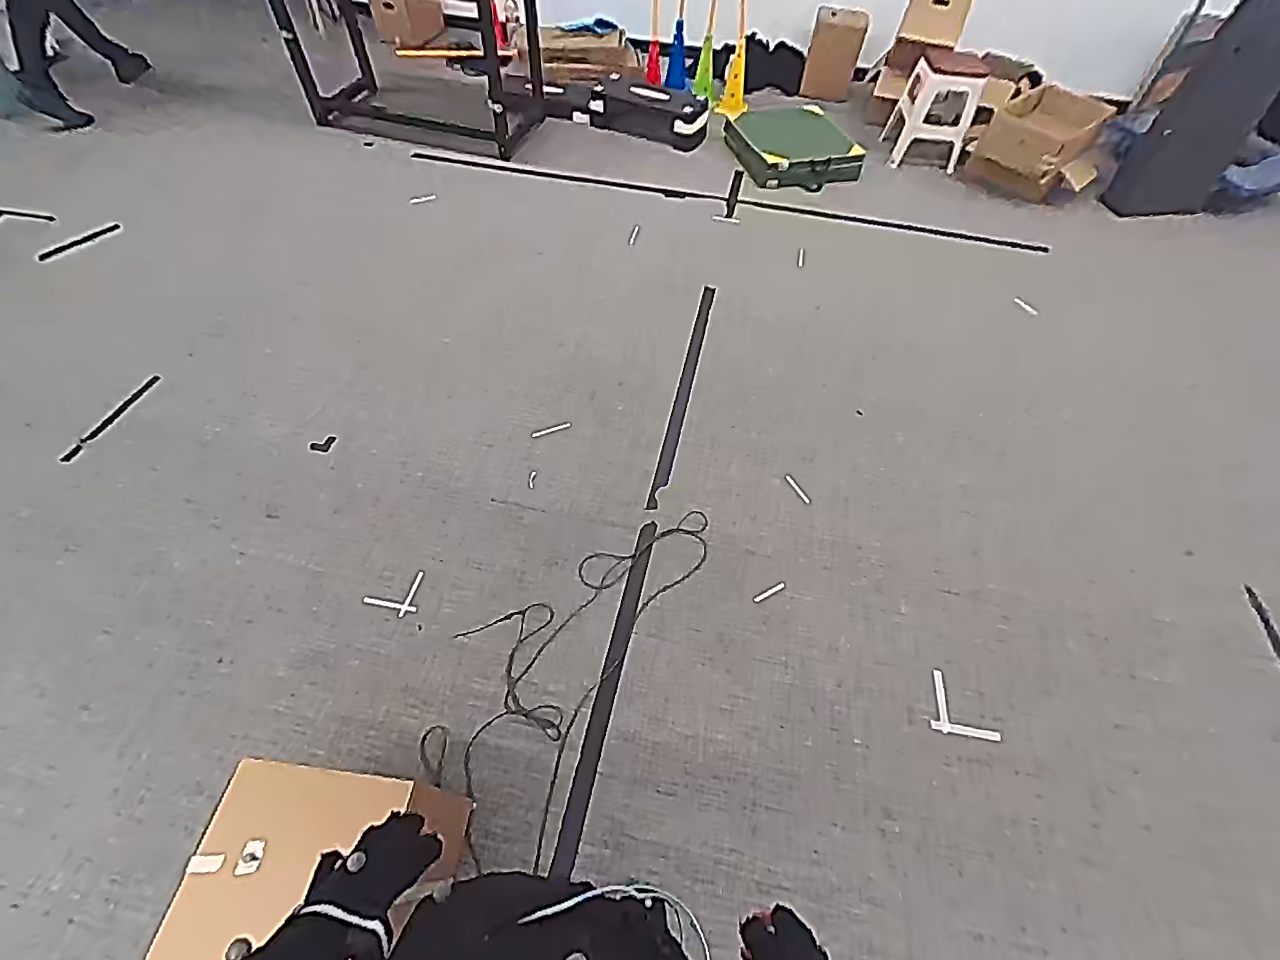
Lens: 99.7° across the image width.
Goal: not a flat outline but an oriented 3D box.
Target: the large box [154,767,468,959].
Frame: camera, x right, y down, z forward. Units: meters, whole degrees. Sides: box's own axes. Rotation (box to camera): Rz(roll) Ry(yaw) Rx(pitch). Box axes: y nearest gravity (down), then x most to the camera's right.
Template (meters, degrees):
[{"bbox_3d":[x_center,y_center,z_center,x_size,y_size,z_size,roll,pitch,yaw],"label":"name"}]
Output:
[{"bbox_3d":[-0.560,0.739,1.005,0.320,0.408,0.320,7,56,4],"label":"large box"}]
